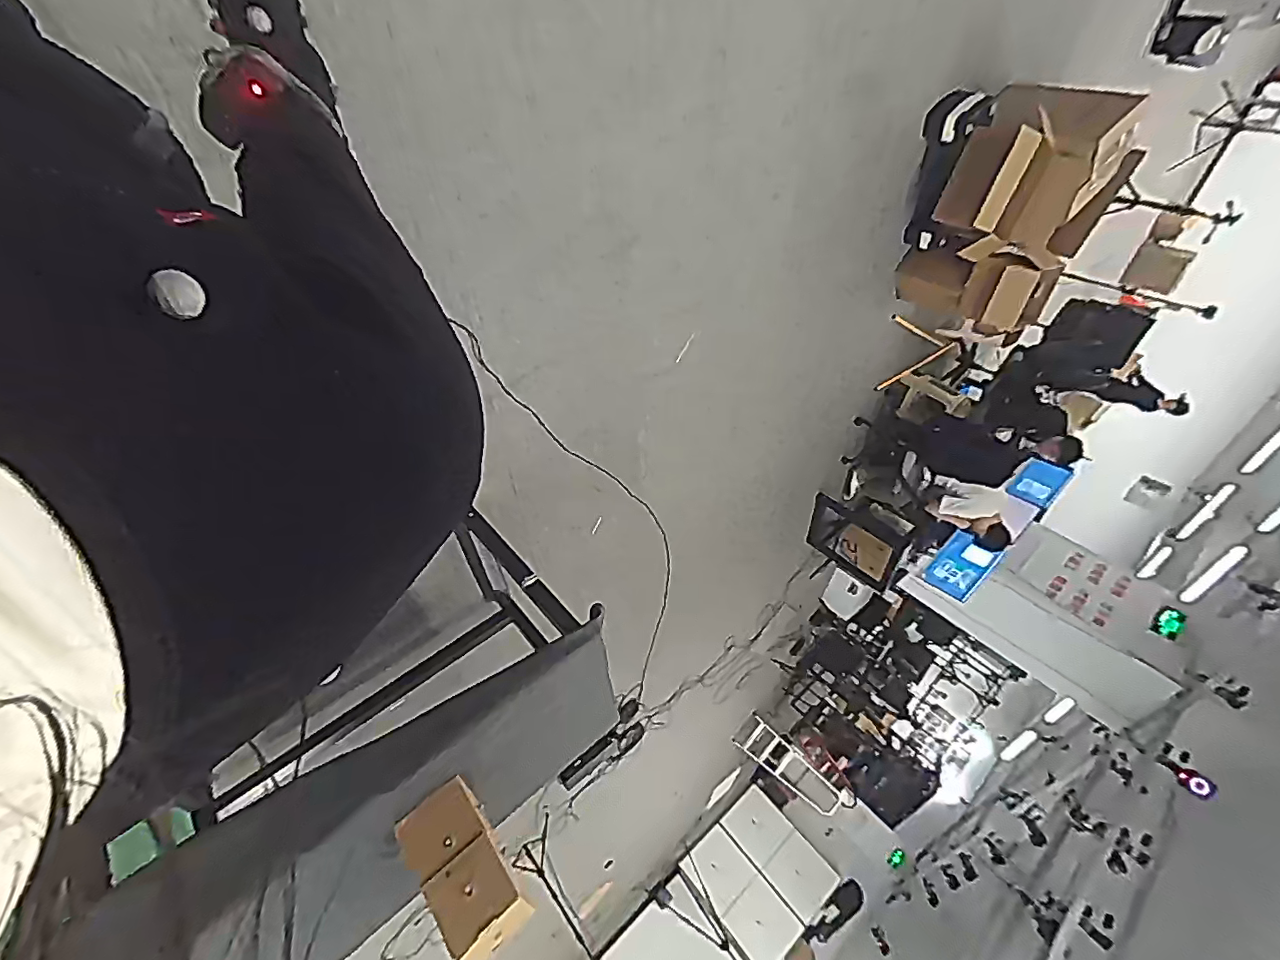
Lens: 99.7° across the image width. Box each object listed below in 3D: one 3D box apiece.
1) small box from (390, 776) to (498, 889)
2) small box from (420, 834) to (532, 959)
[{"bbox_3d":[-0.485,0.881,1.342,0.179,0.176,0.168,-32,140,-25],"label":"small box"},{"bbox_3d":[-0.378,0.960,1.247,0.168,0.176,0.179,-33,141,-26],"label":"small box"}]
